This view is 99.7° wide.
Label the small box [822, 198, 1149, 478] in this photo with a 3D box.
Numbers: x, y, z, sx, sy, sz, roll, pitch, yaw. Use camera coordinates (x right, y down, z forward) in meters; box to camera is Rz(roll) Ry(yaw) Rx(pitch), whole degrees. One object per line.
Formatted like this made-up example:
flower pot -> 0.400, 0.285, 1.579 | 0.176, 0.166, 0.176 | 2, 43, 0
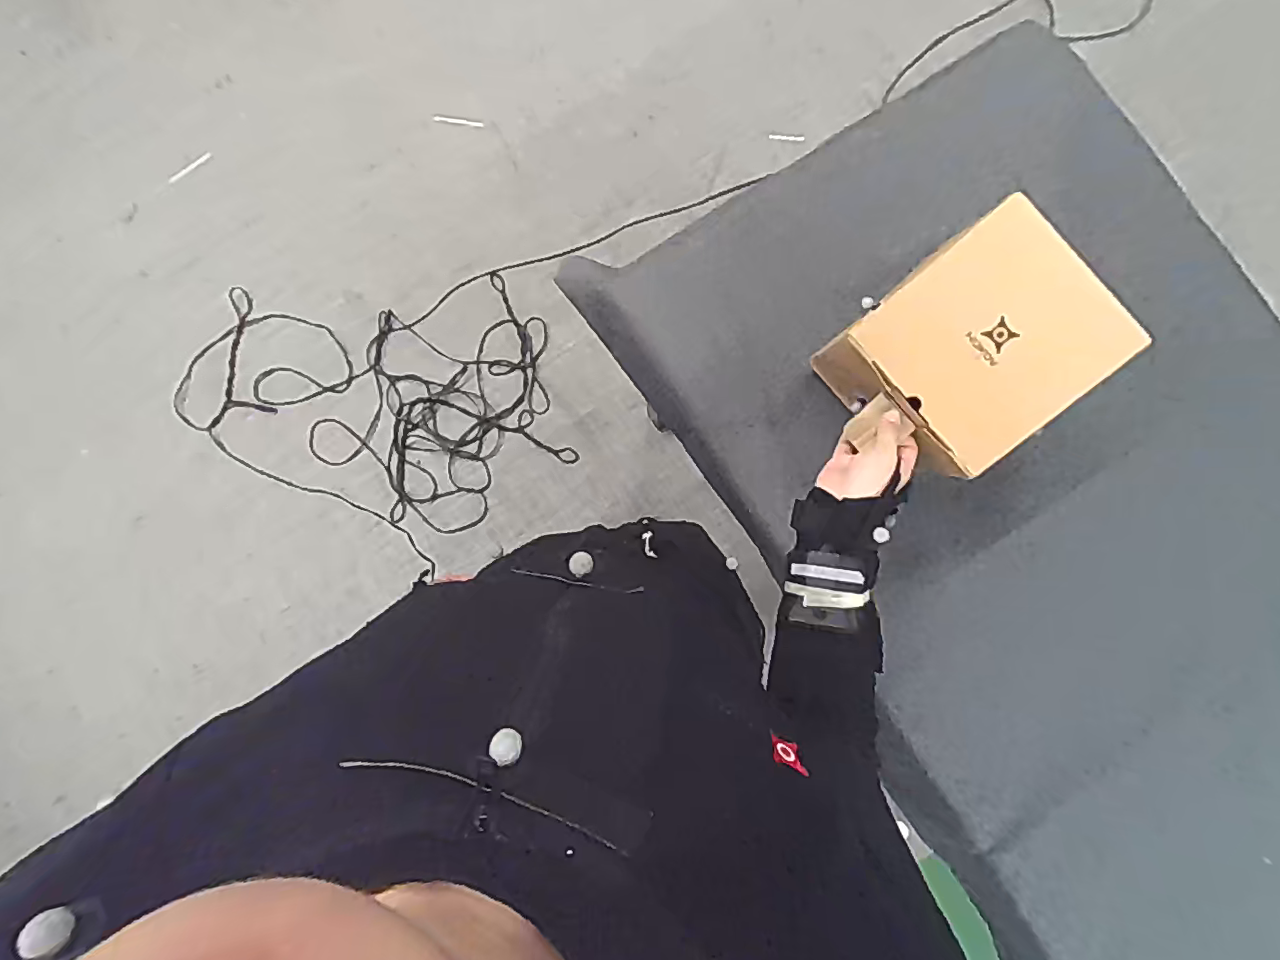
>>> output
small box -> 0.309, -0.124, 0.531 | 0.179, 0.176, 0.168 | -41, 89, 8
